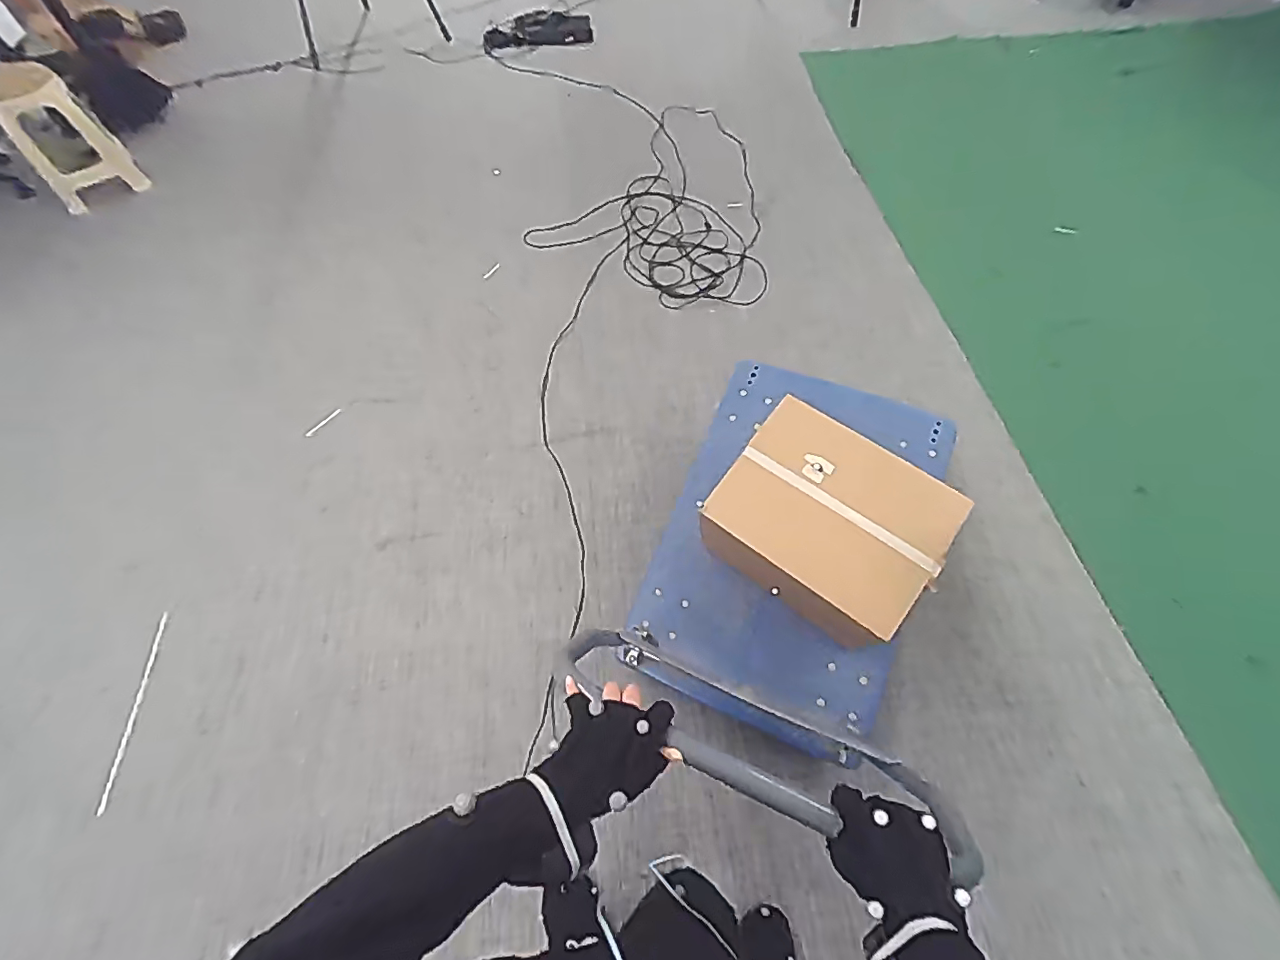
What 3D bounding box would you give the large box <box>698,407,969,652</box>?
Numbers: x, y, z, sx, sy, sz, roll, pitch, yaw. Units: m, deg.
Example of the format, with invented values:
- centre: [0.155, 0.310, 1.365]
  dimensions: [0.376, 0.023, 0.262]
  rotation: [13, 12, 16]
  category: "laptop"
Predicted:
- centre: [0.381, 0.119, 1.158]
  dimensions: [0.408, 0.320, 0.320]
  rotation: [36, 78, 19]
  category: "large box"
